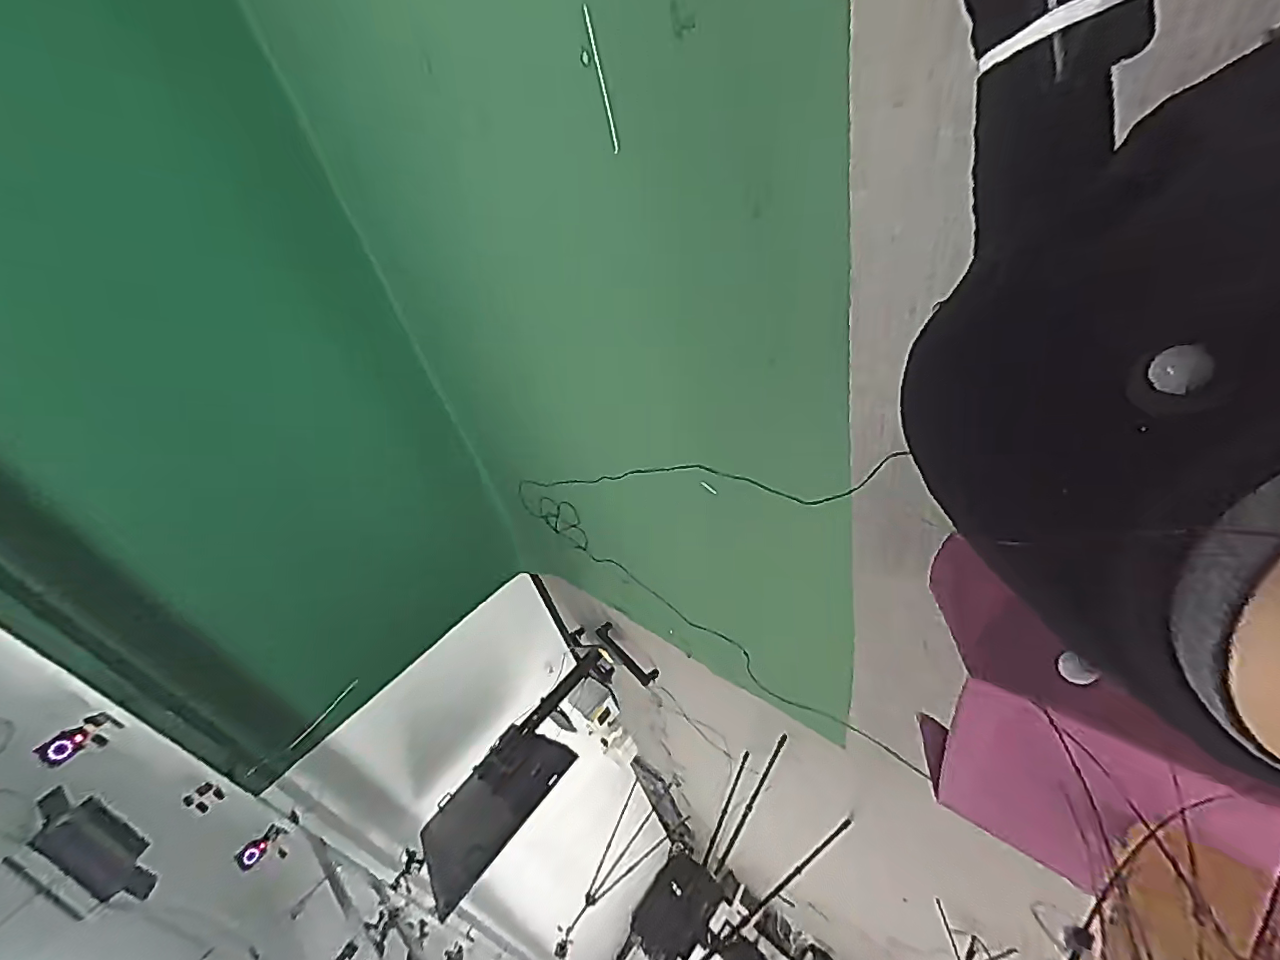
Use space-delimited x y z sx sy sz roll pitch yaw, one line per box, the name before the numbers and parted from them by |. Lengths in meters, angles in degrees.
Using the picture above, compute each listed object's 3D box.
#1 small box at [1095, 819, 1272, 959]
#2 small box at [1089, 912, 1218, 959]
small box | 0.944 0.746 0.945 0.179 0.176 0.168 21 139 39
small box | 0.838 0.840 0.862 0.179 0.176 0.168 19 138 39
